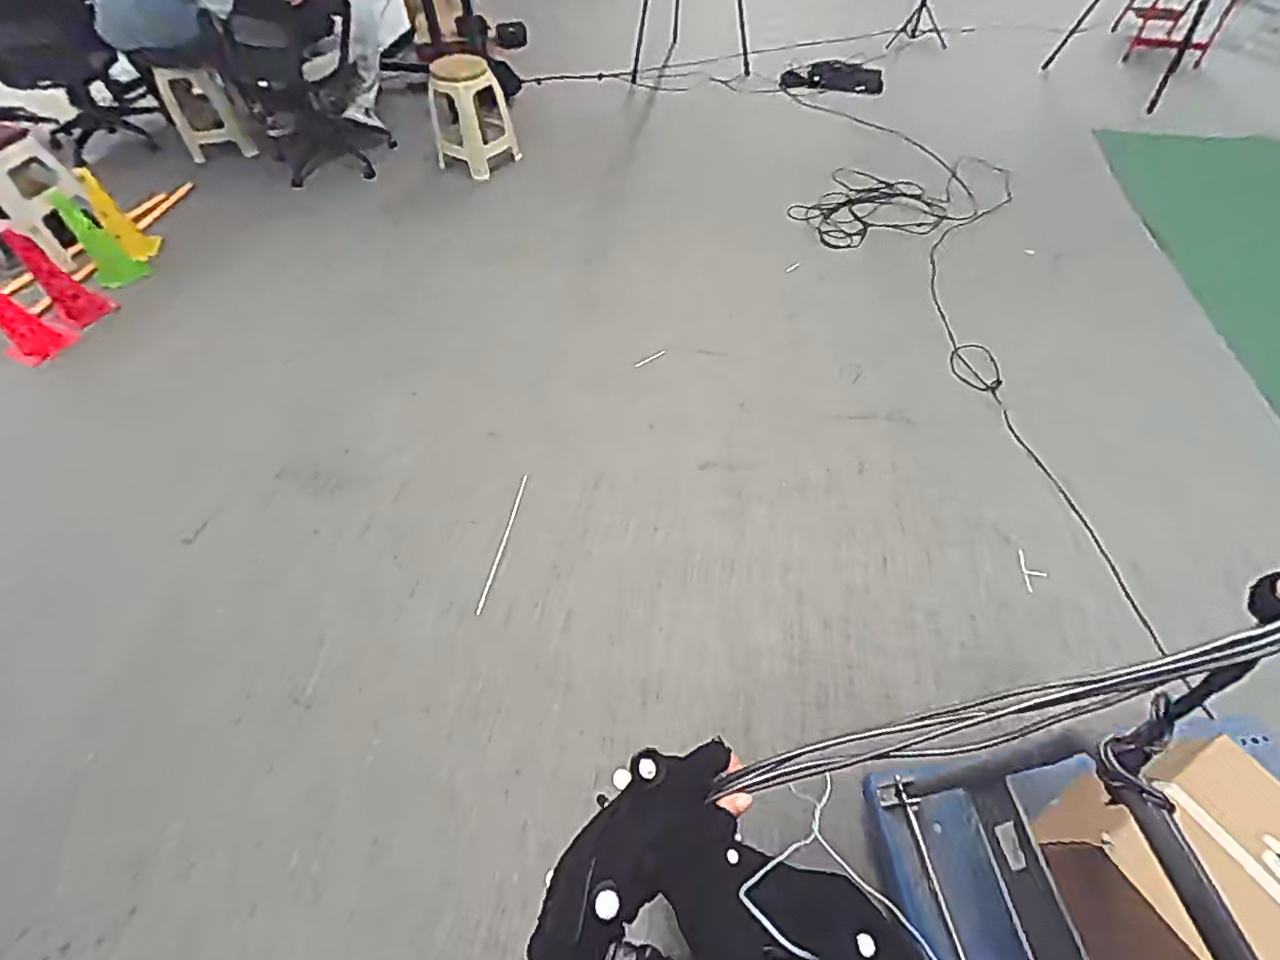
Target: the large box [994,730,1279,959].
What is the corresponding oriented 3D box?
[{"bbox_3d":[0.903,0.695,0.865,0.320,0.320,0.408,-25,57,-15],"label":"large box"}]
